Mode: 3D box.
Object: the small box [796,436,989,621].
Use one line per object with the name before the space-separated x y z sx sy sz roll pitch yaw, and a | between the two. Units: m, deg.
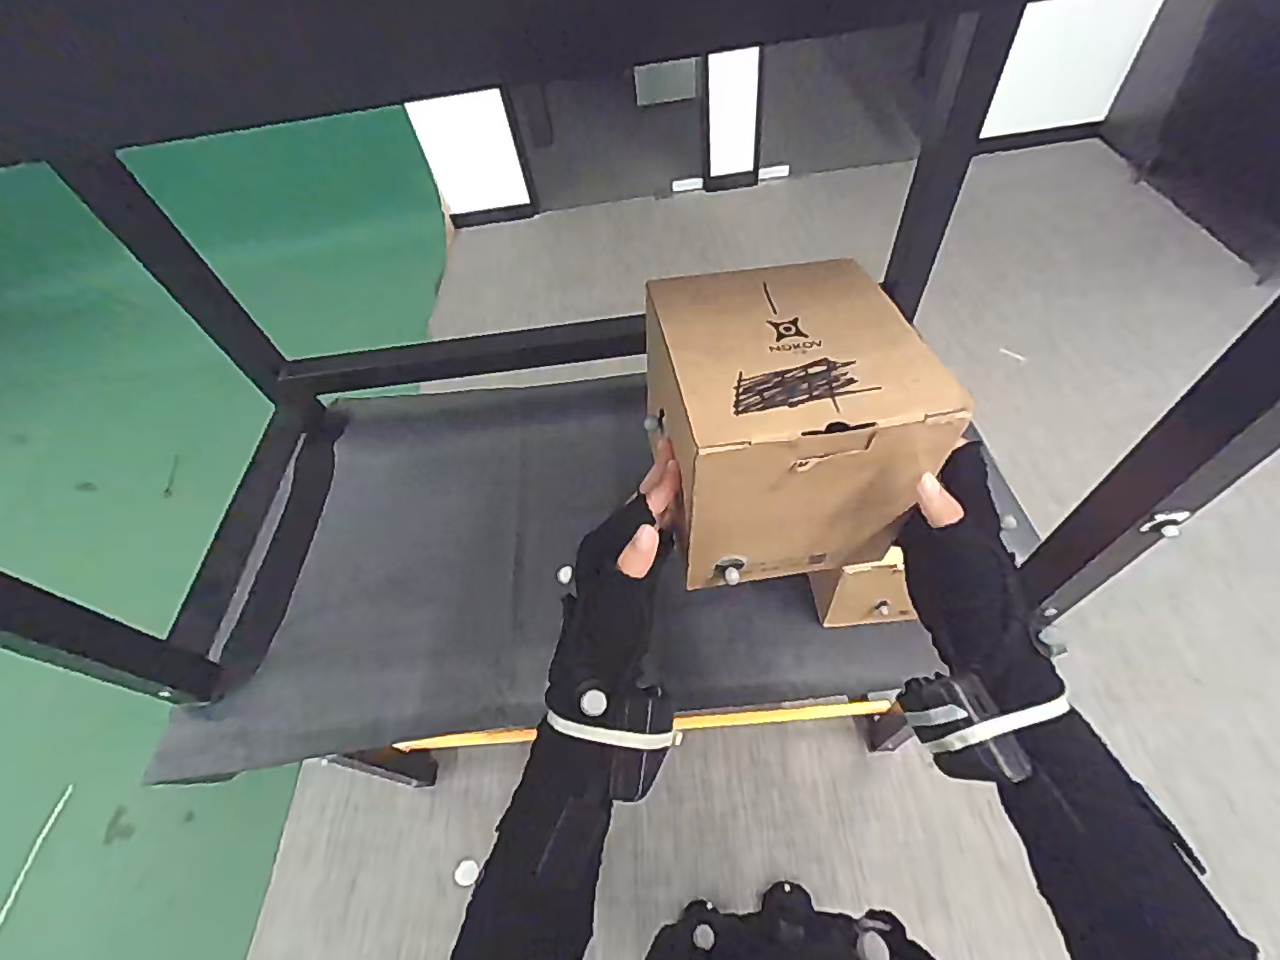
small box | 0.312 0.067 0.715 0.168 0.176 0.179 -7 53 4
